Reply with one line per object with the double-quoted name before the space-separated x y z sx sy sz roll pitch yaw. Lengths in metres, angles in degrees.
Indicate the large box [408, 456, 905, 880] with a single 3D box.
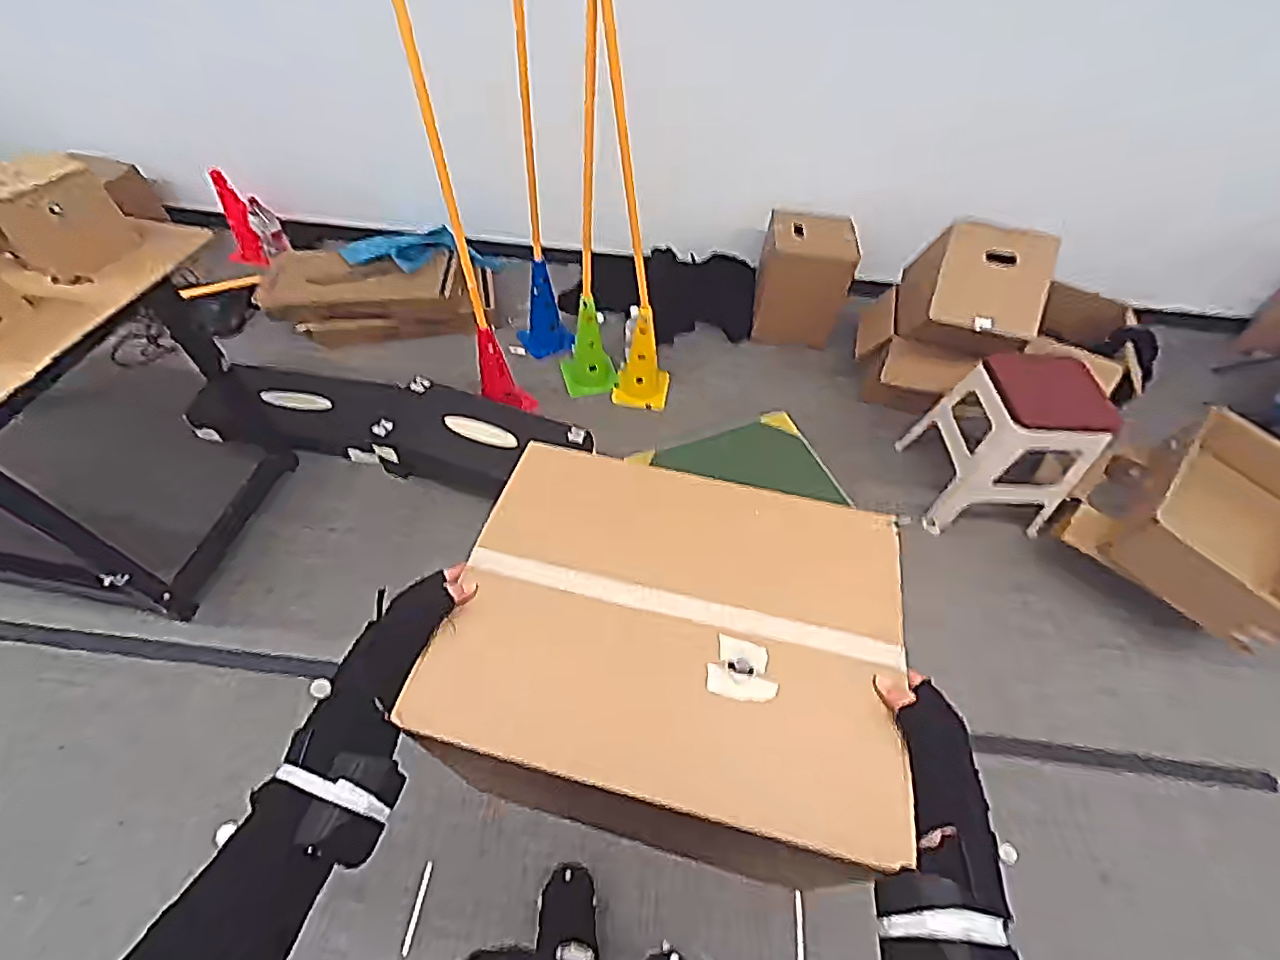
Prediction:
"large box" 0.029 0.216 0.622 0.408 0.320 0.320 12 53 7
